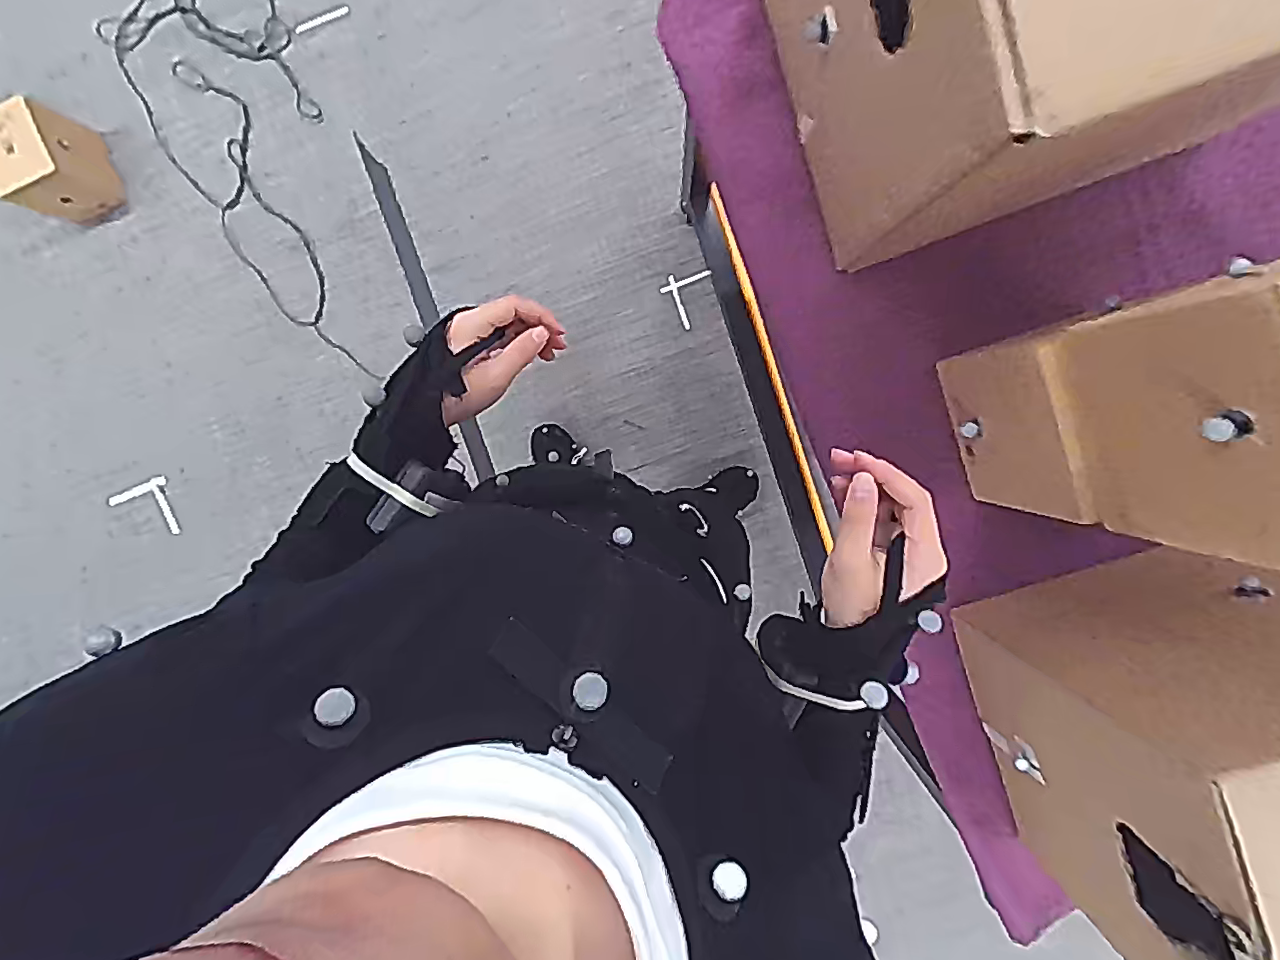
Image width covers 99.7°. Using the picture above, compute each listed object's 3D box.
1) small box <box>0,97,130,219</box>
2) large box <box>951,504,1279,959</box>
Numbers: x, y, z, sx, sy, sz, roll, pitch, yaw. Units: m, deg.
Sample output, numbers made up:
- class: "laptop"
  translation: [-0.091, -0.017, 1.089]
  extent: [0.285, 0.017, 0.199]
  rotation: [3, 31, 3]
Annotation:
- class: "small box"
  translation: [-1.386, -0.749, 1.287]
  extent: [0.168, 0.176, 0.179]
  rotation: [-20, 94, 5]
- class: "large box"
  translation: [0.590, 0.242, 0.484]
  extent: [0.408, 0.320, 0.320]
  rotation: [-19, 95, 3]
